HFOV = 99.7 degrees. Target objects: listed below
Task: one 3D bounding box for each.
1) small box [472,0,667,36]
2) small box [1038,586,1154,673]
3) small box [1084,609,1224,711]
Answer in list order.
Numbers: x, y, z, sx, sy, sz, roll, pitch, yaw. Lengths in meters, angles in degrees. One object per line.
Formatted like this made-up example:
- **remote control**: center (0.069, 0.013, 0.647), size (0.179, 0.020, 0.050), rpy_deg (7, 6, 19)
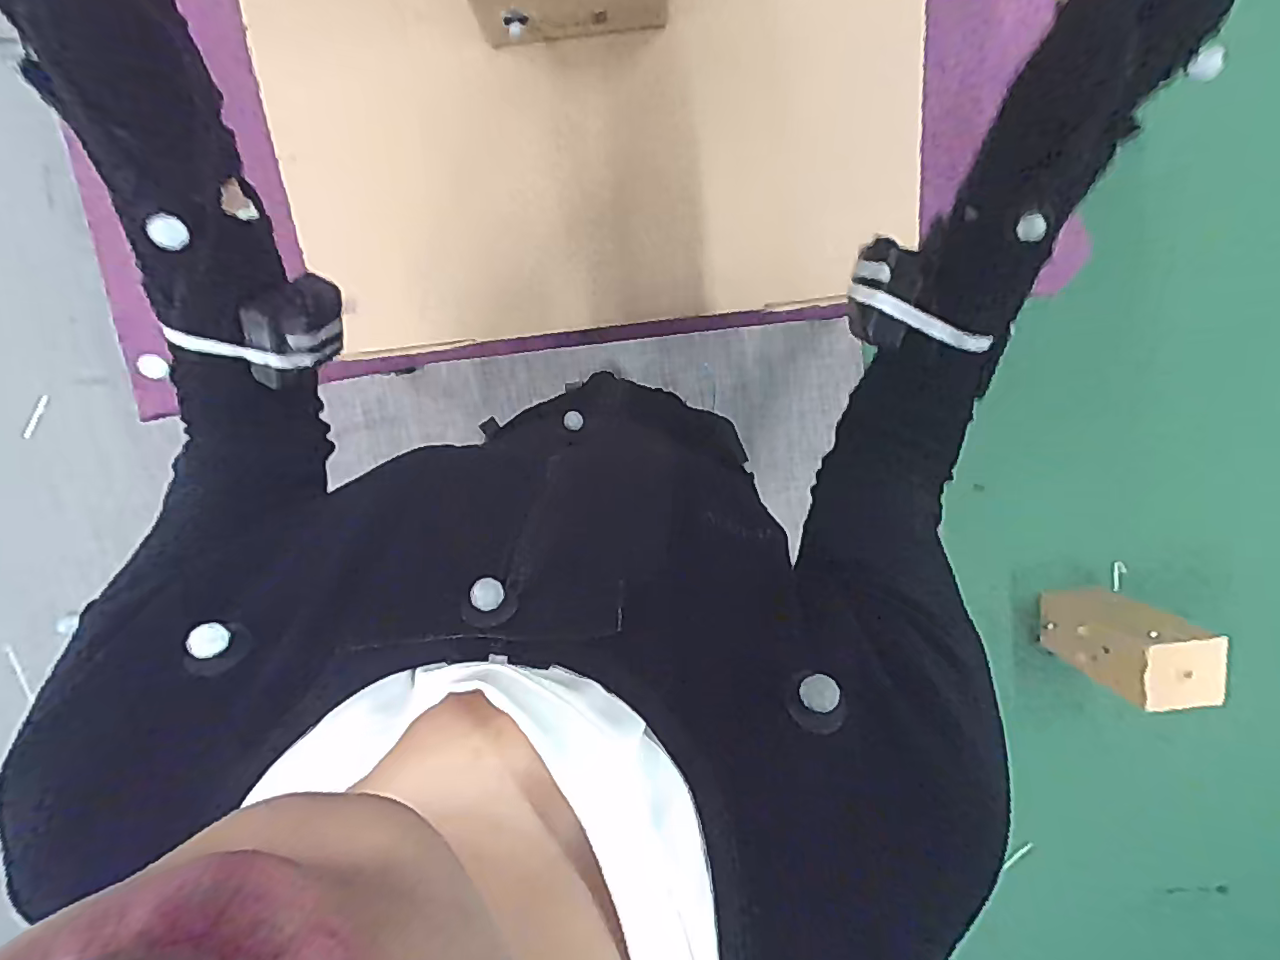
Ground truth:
- **small box**: center (-0.065, -0.468, 0.395), size (0.168, 0.176, 0.179), rpy_deg (-5, 98, 2)
- **small box**: center (1.220, 0.395, 1.454), size (0.179, 0.176, 0.168), rpy_deg (-6, 100, 2)
- **small box**: center (1.220, 0.422, 1.294), size (0.179, 0.176, 0.168), rpy_deg (-8, 100, 2)
